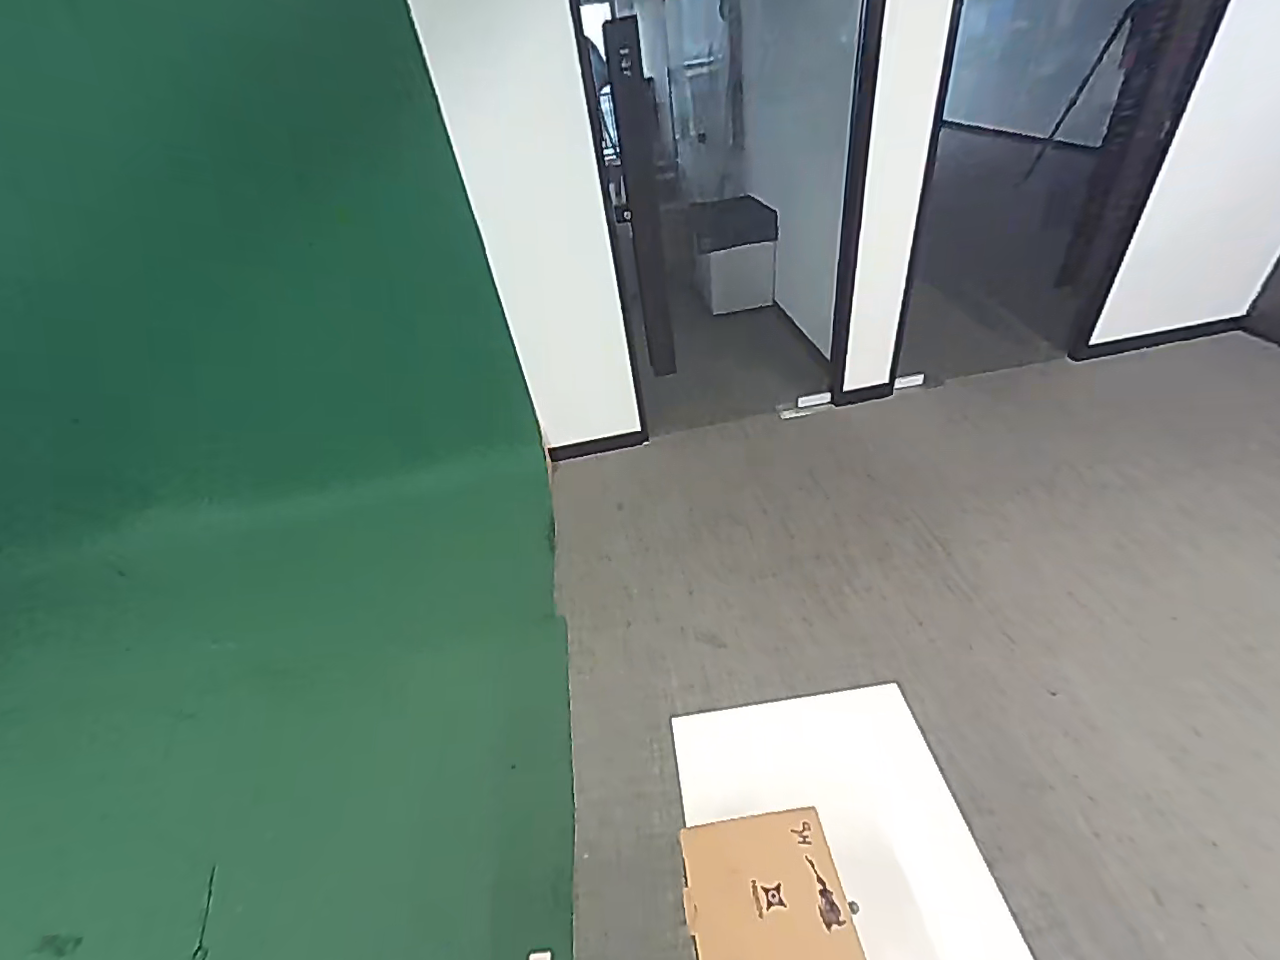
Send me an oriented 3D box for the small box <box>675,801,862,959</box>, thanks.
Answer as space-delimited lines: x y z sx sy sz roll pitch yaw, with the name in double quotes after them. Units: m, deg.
0.147 0.525 0.660 0.179 0.176 0.168 -9 39 -1 "small box"
